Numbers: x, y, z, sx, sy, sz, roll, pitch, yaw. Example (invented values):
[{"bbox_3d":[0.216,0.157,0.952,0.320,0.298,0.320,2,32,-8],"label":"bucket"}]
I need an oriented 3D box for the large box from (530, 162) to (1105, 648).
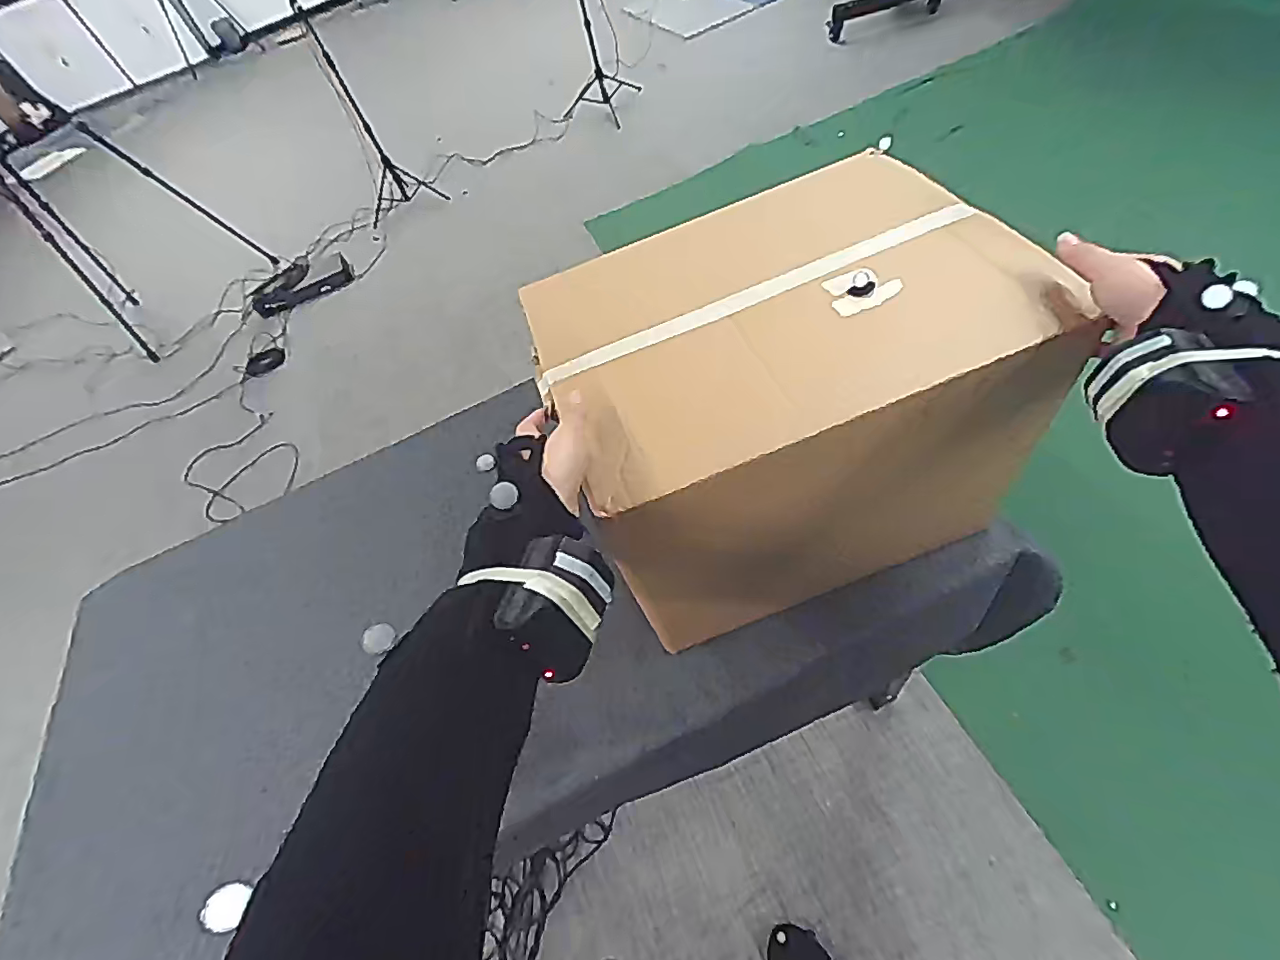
[{"bbox_3d":[0.143,-0.072,0.596,0.408,0.320,0.320,-21,53,-2],"label":"large box"}]
